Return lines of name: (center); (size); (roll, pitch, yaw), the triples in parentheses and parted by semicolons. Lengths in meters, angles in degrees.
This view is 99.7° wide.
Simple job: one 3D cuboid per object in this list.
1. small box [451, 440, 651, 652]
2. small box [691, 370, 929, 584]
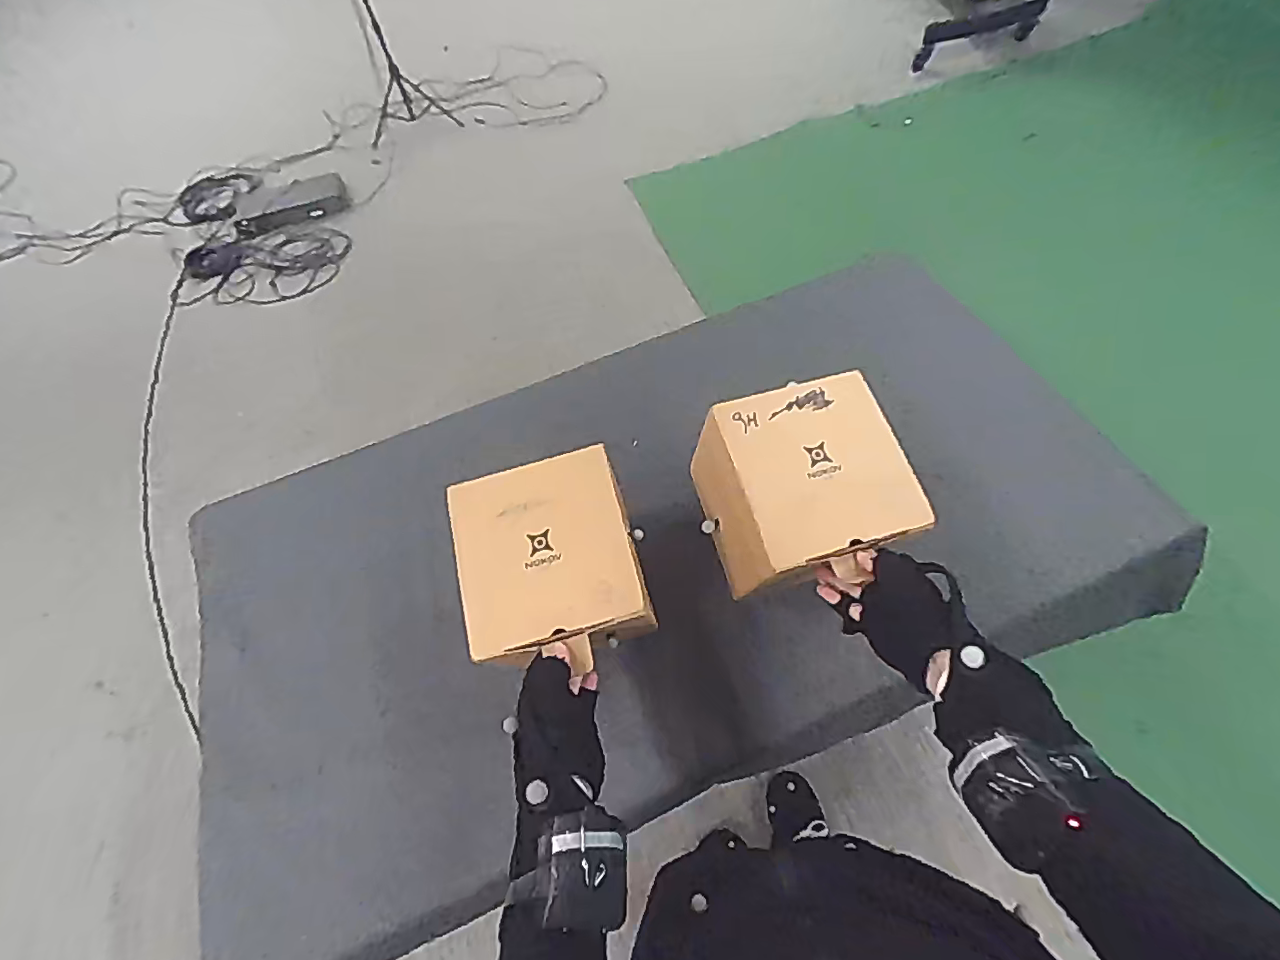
small box: (-0.087, 0.083, 0.594); (0.168, 0.176, 0.179); (-15, 69, -2)
small box: (0.168, 0.008, 0.597); (0.168, 0.176, 0.179); (-14, 71, -10)
